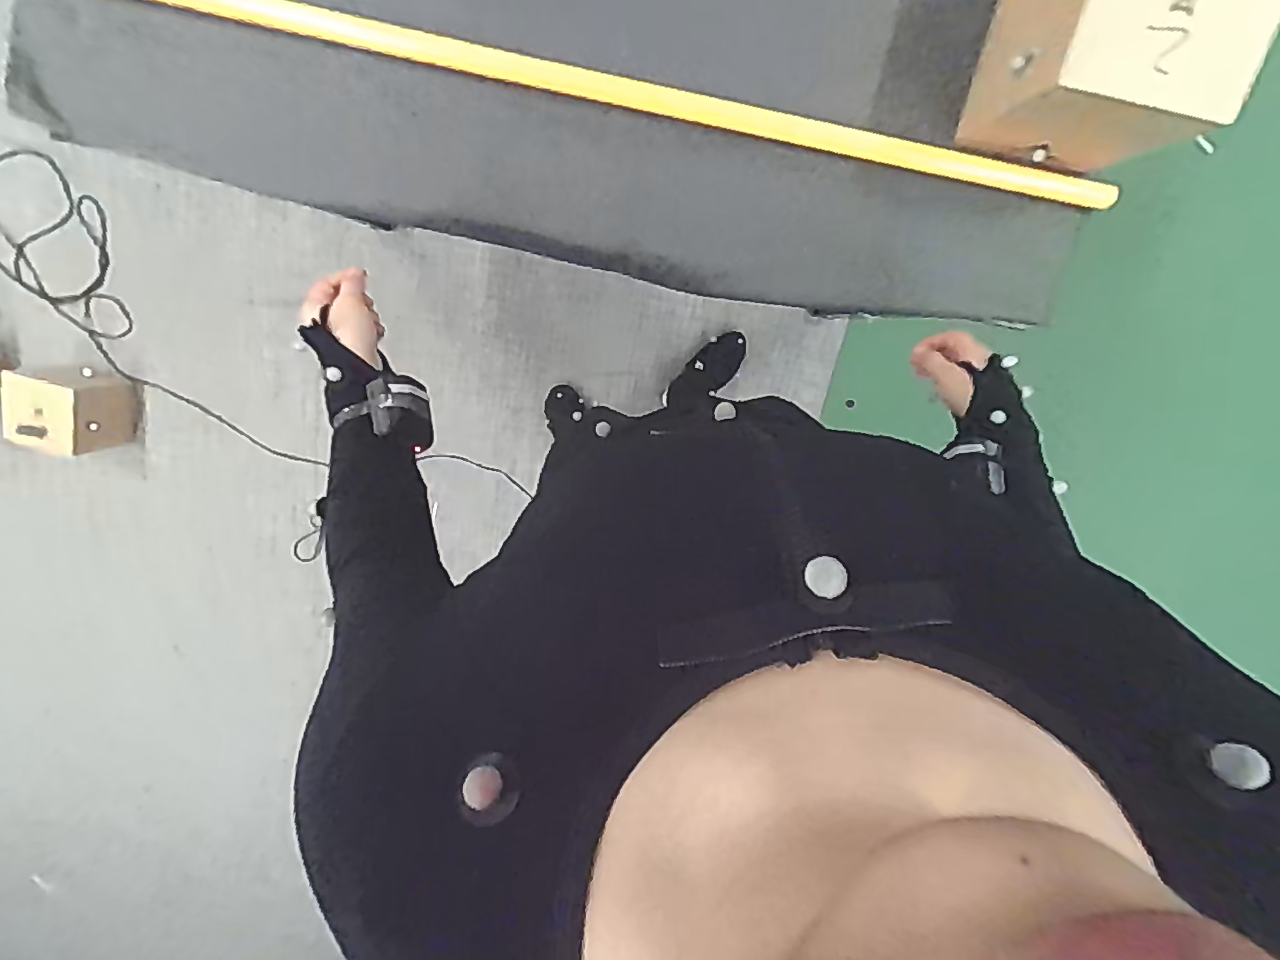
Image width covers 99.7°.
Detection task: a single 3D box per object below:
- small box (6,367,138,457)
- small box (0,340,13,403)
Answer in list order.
[{"bbox_3d":[-1.438,-0.179,1.379,0.168,0.176,0.179,16,105,-4],"label":"small box"},{"bbox_3d":[-1.739,-0.275,1.354,0.179,0.176,0.168,8,107,-1],"label":"small box"}]
